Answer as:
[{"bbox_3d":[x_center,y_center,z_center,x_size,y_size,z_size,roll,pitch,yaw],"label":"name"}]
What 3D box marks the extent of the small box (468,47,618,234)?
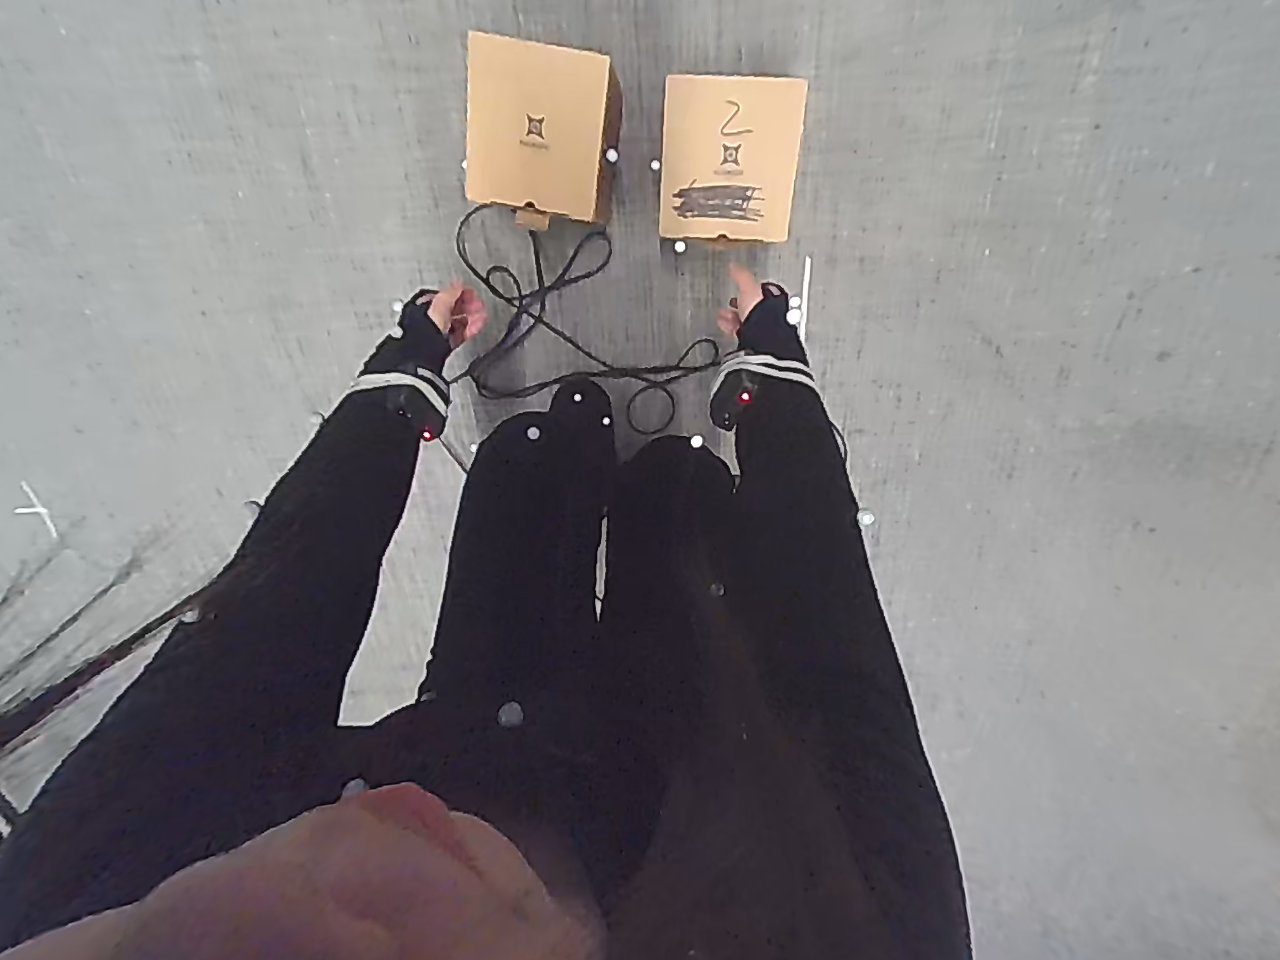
[{"bbox_3d":[-0.124,-0.444,0.734,0.168,0.176,0.179,10,116,-2],"label":"small box"}]
